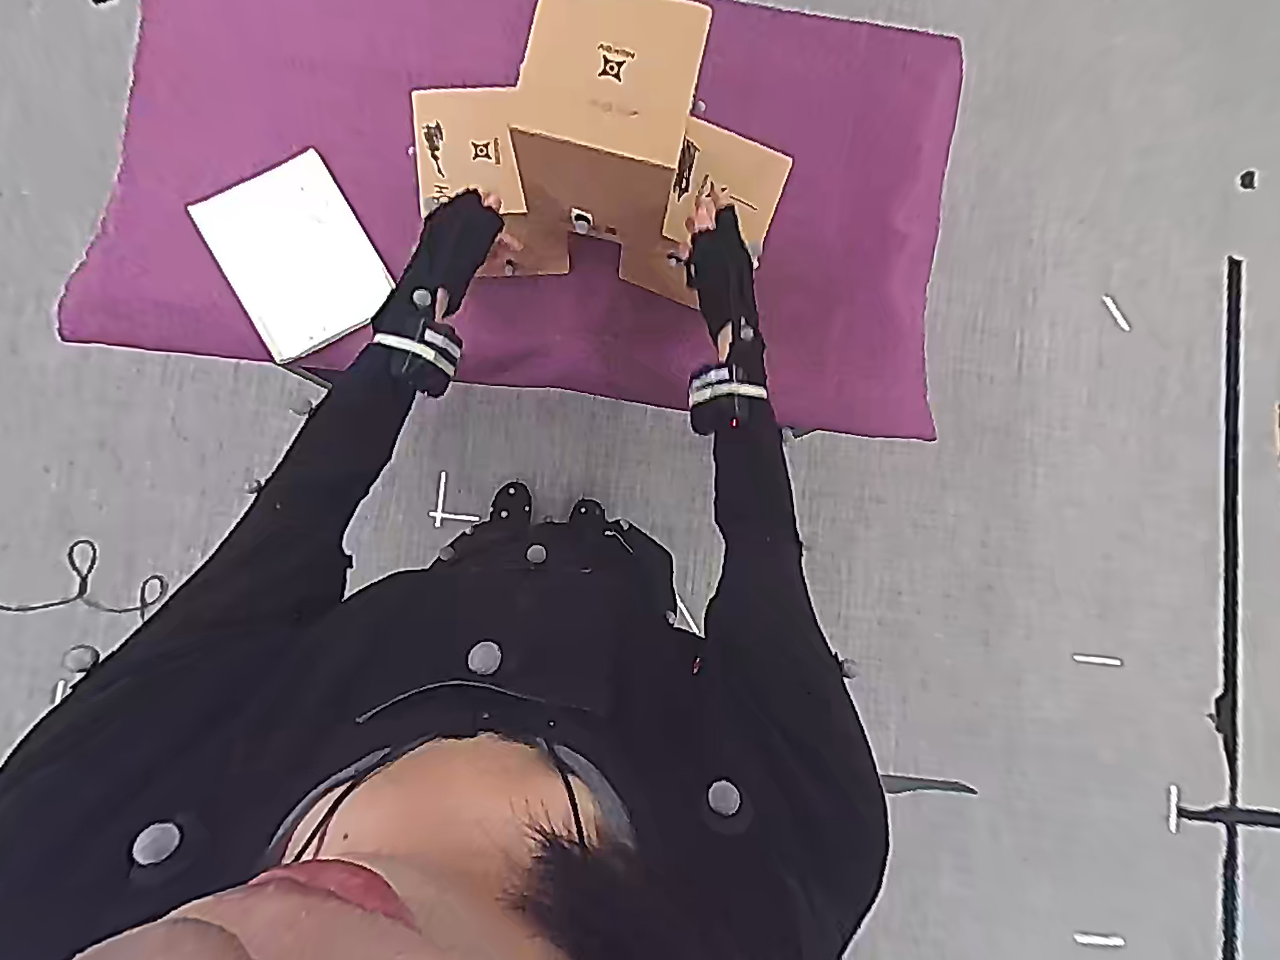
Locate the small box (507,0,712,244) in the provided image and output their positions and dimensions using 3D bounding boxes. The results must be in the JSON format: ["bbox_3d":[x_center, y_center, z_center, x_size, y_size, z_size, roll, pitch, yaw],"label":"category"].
[{"bbox_3d":[-0.033,-0.394,0.587,0.168,0.176,0.179,13,85,-3],"label":"small box"}]

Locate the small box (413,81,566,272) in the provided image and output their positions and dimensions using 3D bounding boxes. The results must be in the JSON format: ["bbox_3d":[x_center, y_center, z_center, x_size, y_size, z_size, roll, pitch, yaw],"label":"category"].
[{"bbox_3d":[-0.192,-0.400,0.737,0.179,0.176,0.168,-5,85,-7],"label":"small box"}]

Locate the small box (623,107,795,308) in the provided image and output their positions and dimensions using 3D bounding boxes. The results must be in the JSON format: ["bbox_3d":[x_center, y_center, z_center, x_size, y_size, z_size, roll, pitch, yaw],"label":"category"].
[{"bbox_3d":[0.083,-0.367,0.757,0.179,0.176,0.168,21,84,-3],"label":"small box"}]
